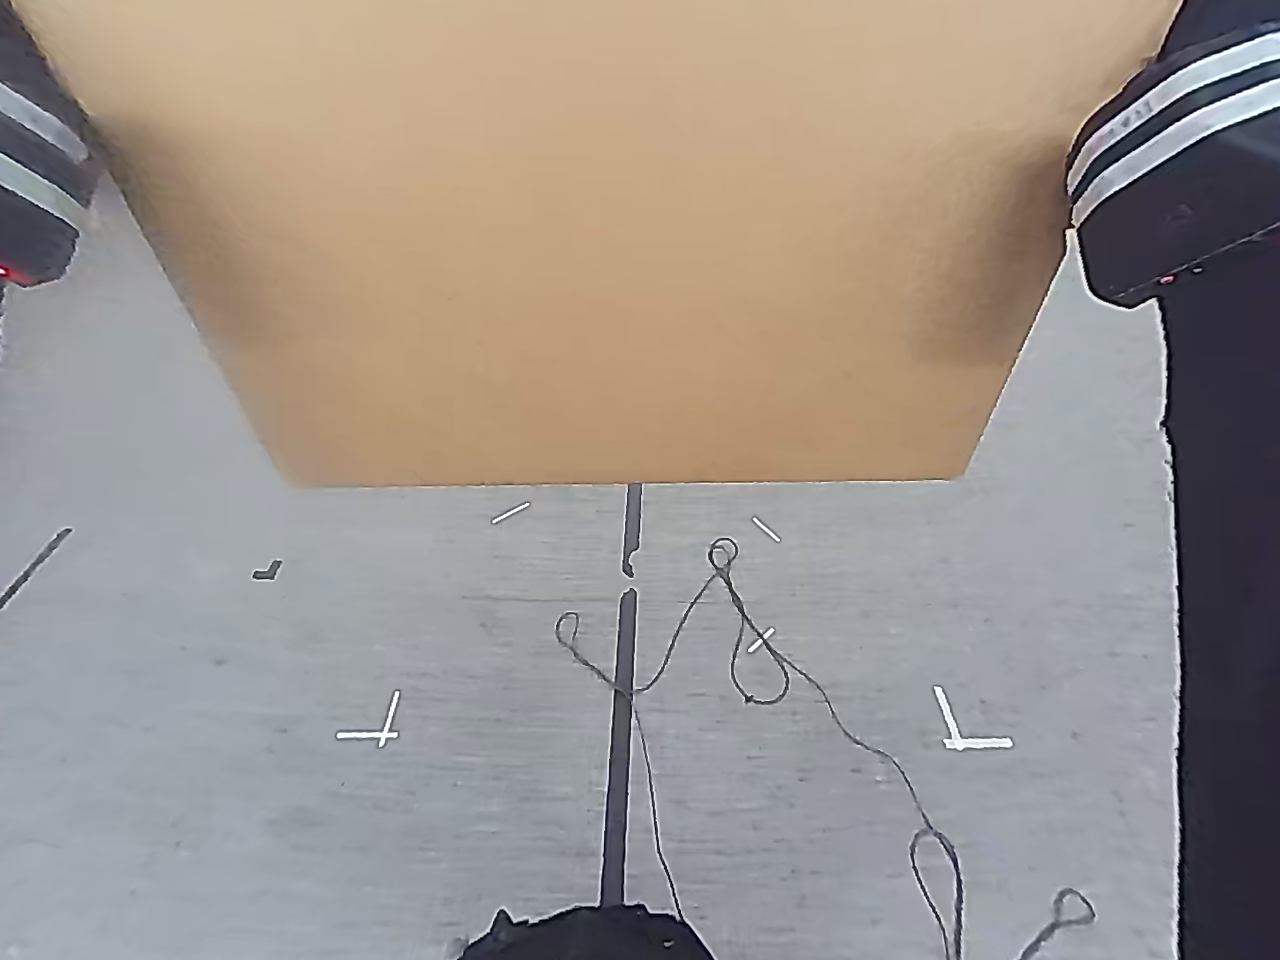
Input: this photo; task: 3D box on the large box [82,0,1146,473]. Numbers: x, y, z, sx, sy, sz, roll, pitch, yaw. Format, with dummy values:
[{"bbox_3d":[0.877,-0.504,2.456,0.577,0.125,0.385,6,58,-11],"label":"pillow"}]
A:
[{"bbox_3d":[-0.011,-0.215,0.355,0.408,0.320,0.320,0,39,-1],"label":"large box"}]
